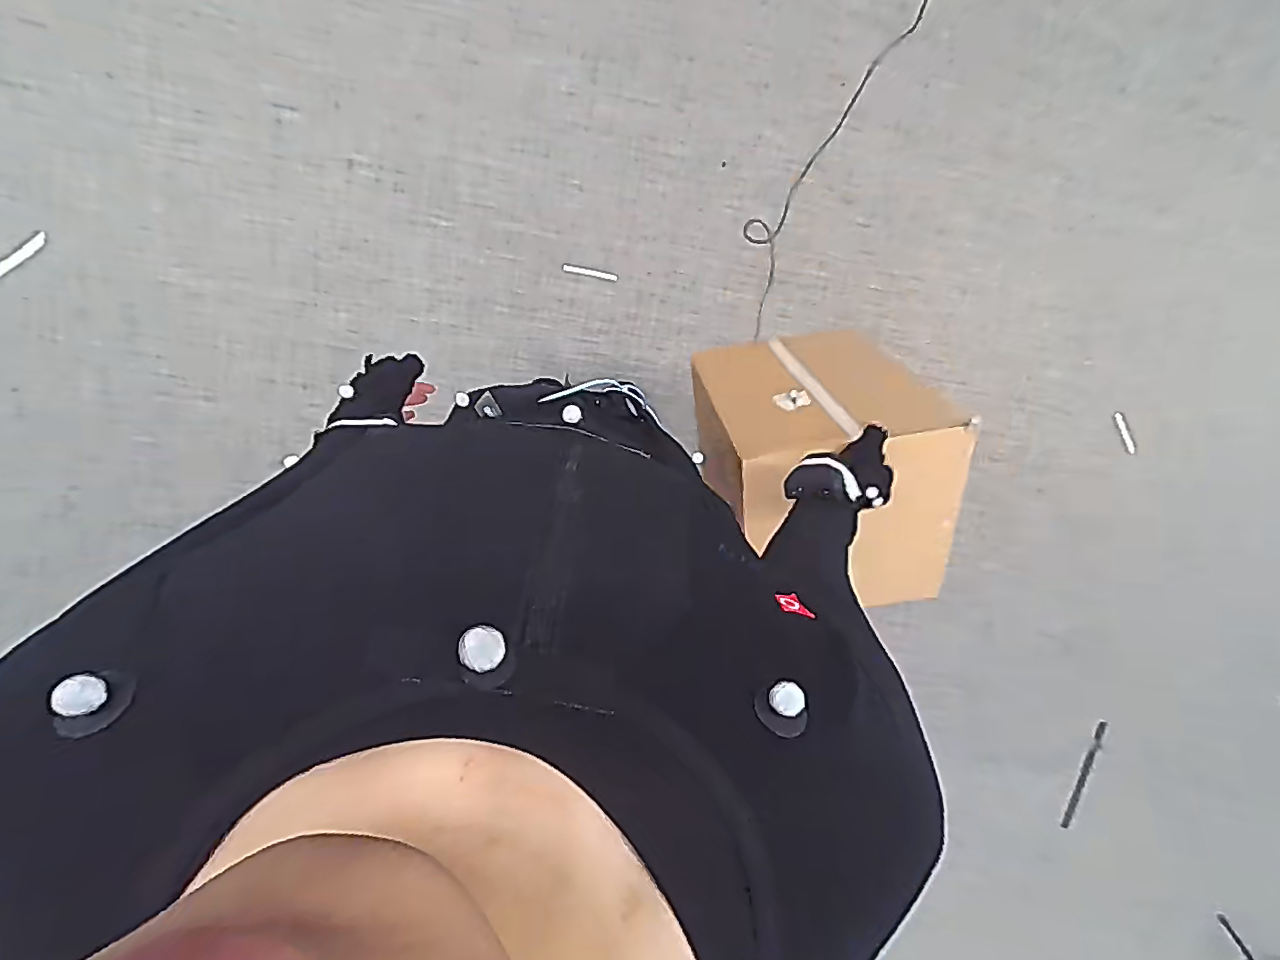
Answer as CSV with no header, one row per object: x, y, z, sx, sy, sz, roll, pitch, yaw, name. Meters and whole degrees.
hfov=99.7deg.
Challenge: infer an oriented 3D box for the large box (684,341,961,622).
0.273,-0.018,0.963,0.320,0.408,0.320,-9,123,-1,large box
